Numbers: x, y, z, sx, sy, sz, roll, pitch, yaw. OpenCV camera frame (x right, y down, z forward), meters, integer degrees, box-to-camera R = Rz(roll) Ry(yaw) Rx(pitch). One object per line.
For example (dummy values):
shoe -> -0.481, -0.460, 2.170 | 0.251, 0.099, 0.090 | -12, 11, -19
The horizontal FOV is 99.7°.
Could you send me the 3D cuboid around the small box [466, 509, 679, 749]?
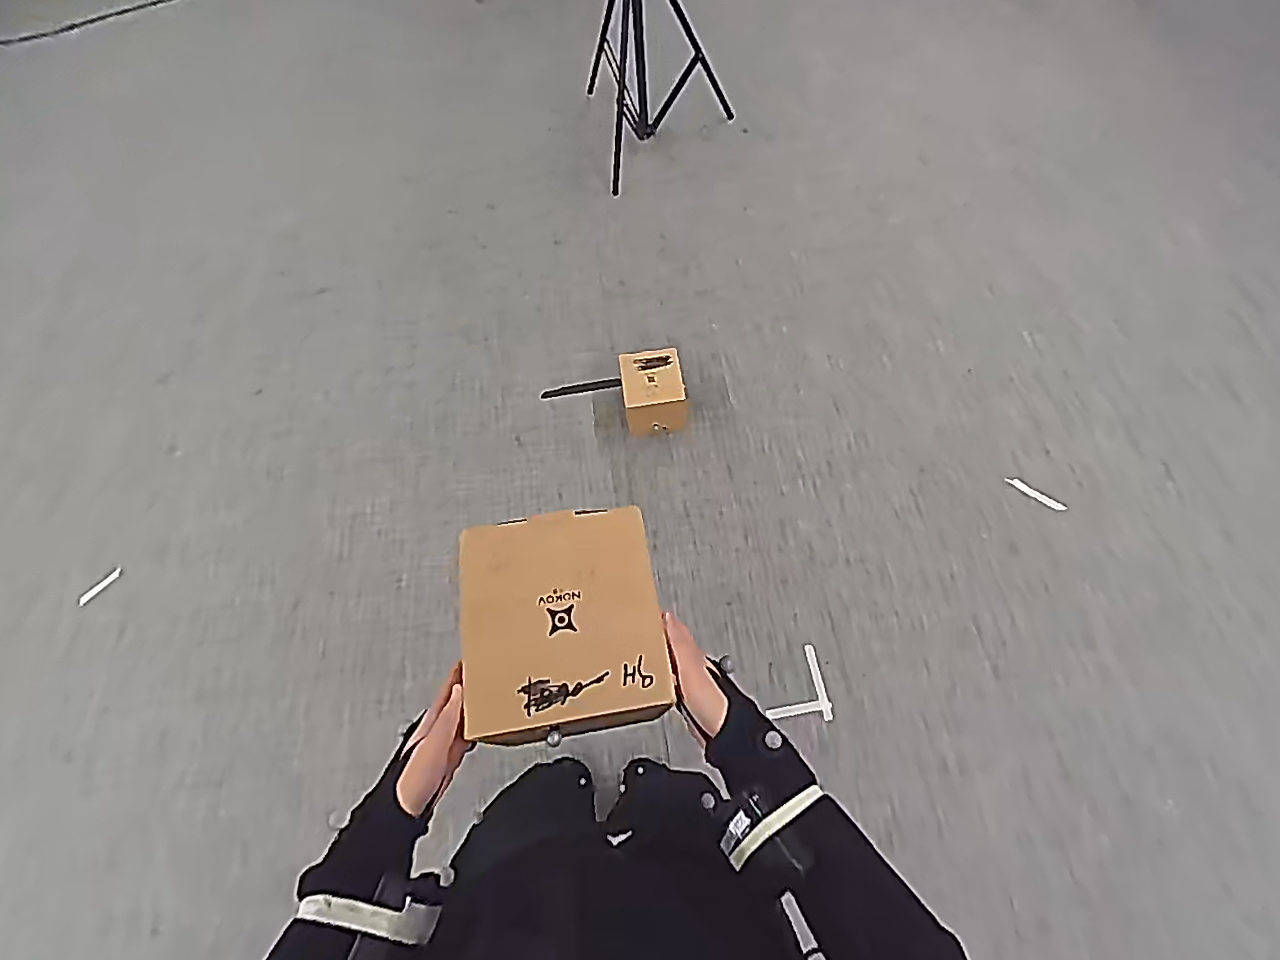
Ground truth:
small box -> -0.067, 0.149, 0.521 | 0.168, 0.176, 0.179 | -7, 63, -7
